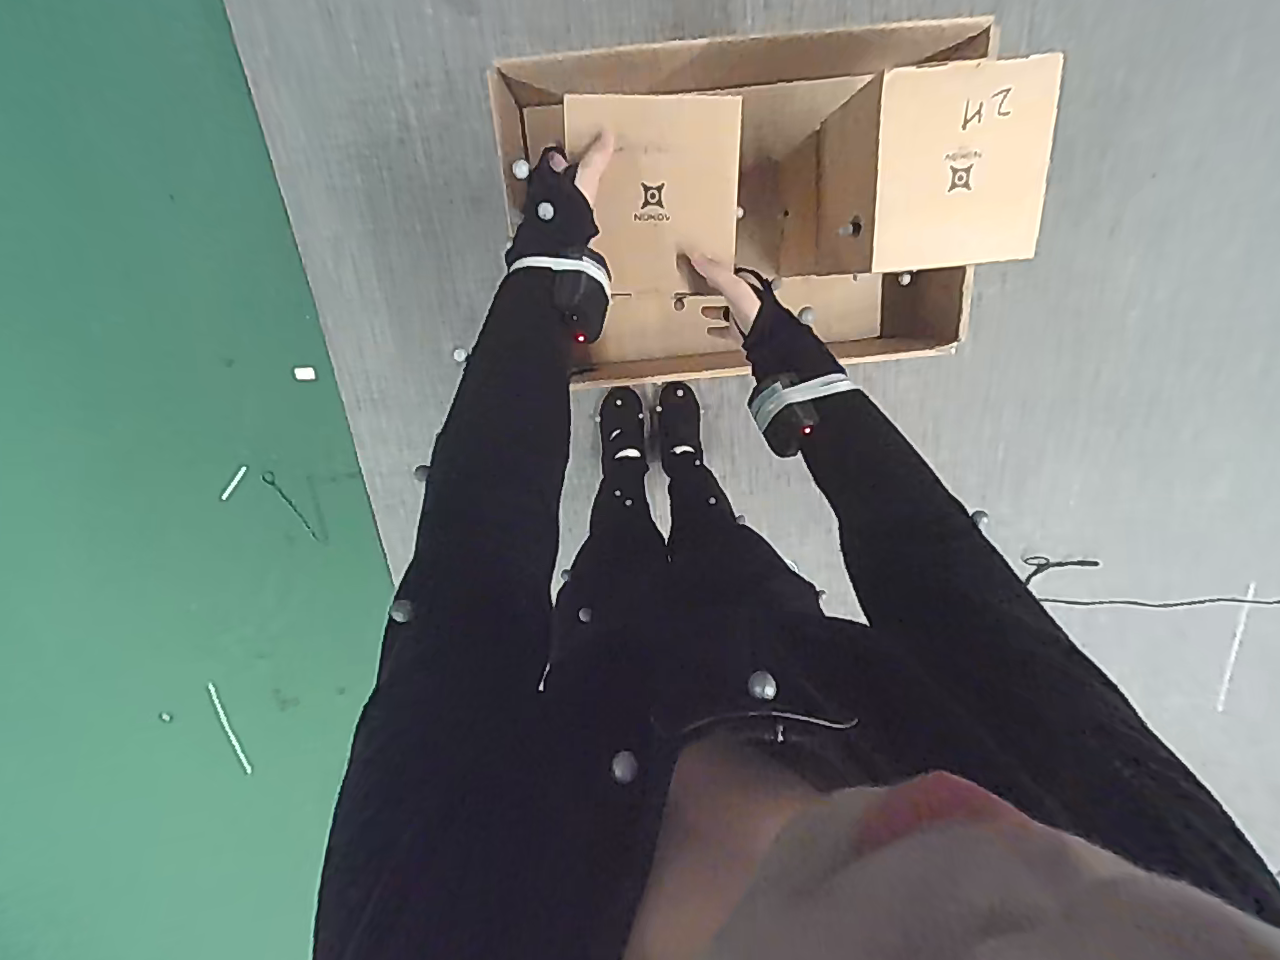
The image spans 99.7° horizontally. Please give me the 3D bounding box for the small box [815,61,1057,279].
[{"bbox_3d":[0.299,-0.317,0.590,0.168,0.176,0.179,-4,109,0],"label":"small box"}]

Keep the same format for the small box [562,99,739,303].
[{"bbox_3d":[0.006,-0.290,0.597,0.168,0.176,0.179,0,108,-2],"label":"small box"}]
